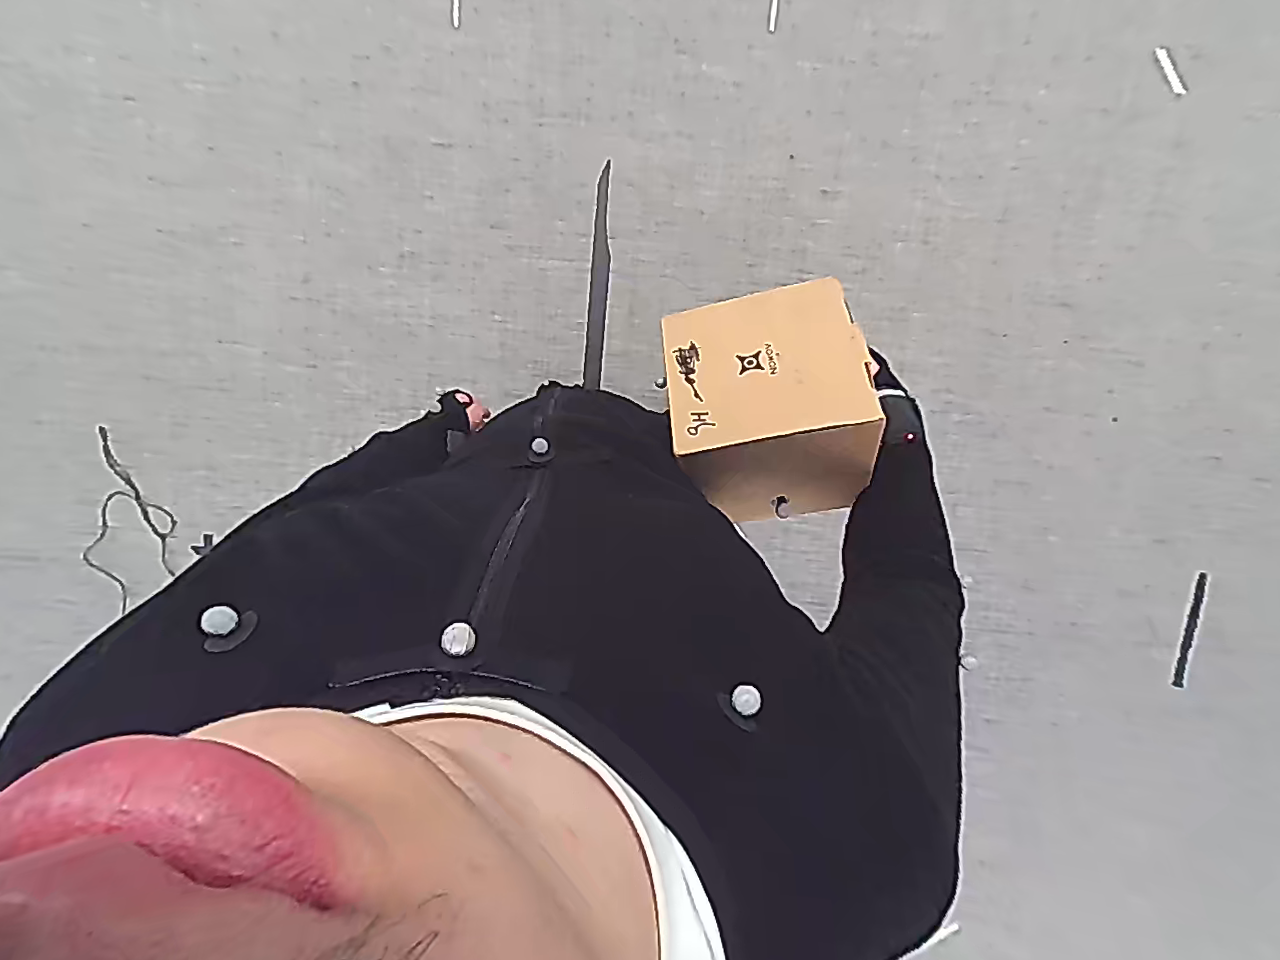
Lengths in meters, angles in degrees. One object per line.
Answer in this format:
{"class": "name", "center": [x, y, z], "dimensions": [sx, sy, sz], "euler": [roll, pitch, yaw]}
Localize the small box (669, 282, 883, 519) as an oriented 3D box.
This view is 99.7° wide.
{"class": "small box", "center": [0.135, -0.072, 0.572], "dimensions": [0.179, 0.176, 0.168], "euler": [-9, 60, 11]}
